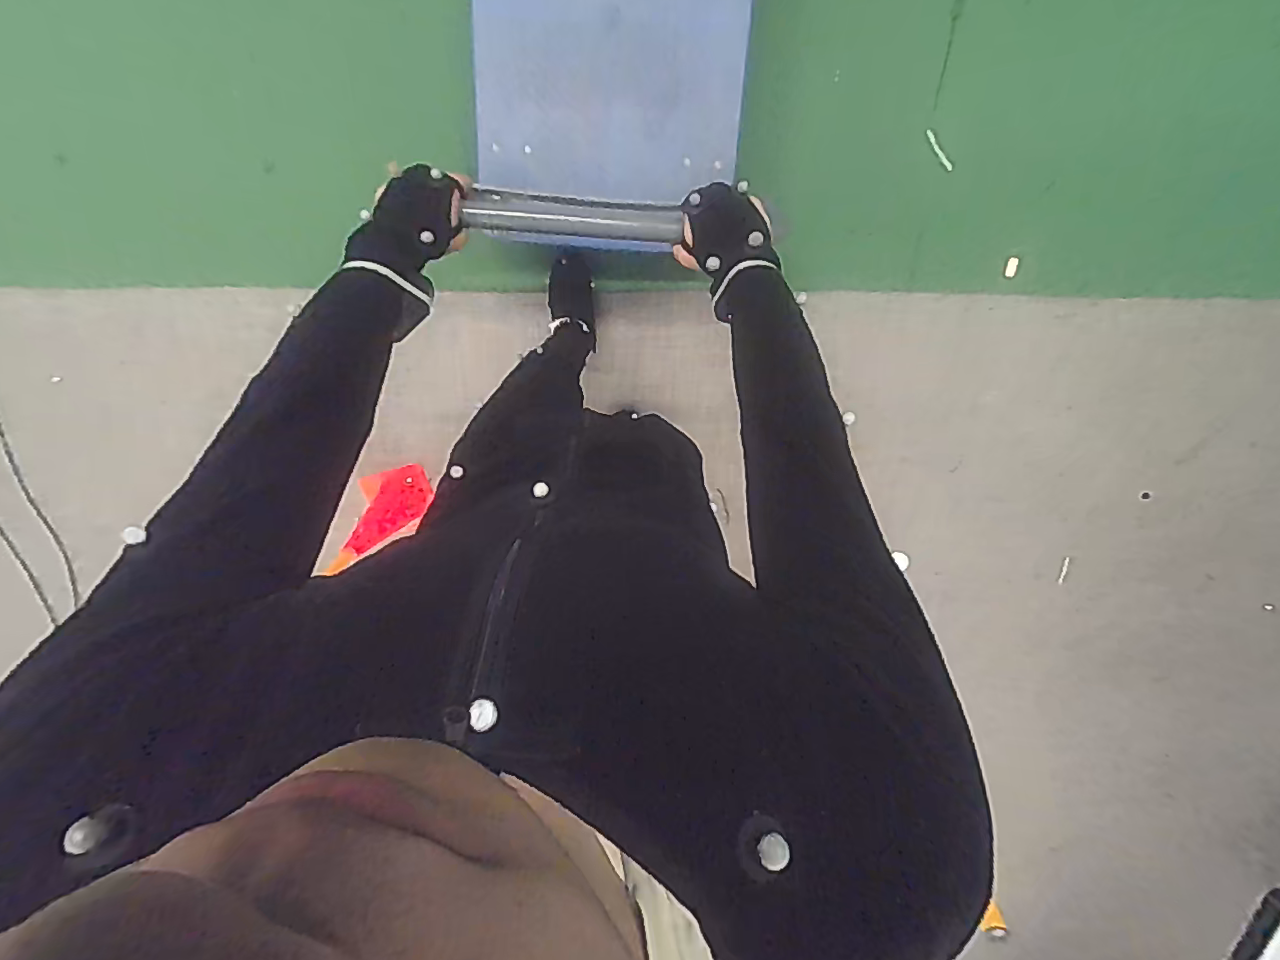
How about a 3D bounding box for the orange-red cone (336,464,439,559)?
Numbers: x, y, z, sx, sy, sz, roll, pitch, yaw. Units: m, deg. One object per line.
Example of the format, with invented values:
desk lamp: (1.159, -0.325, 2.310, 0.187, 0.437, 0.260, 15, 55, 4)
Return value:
orange-red cone: (-0.724, 0.117, 1.475, 0.199, 0.360, 0.198, -13, 110, 4)
